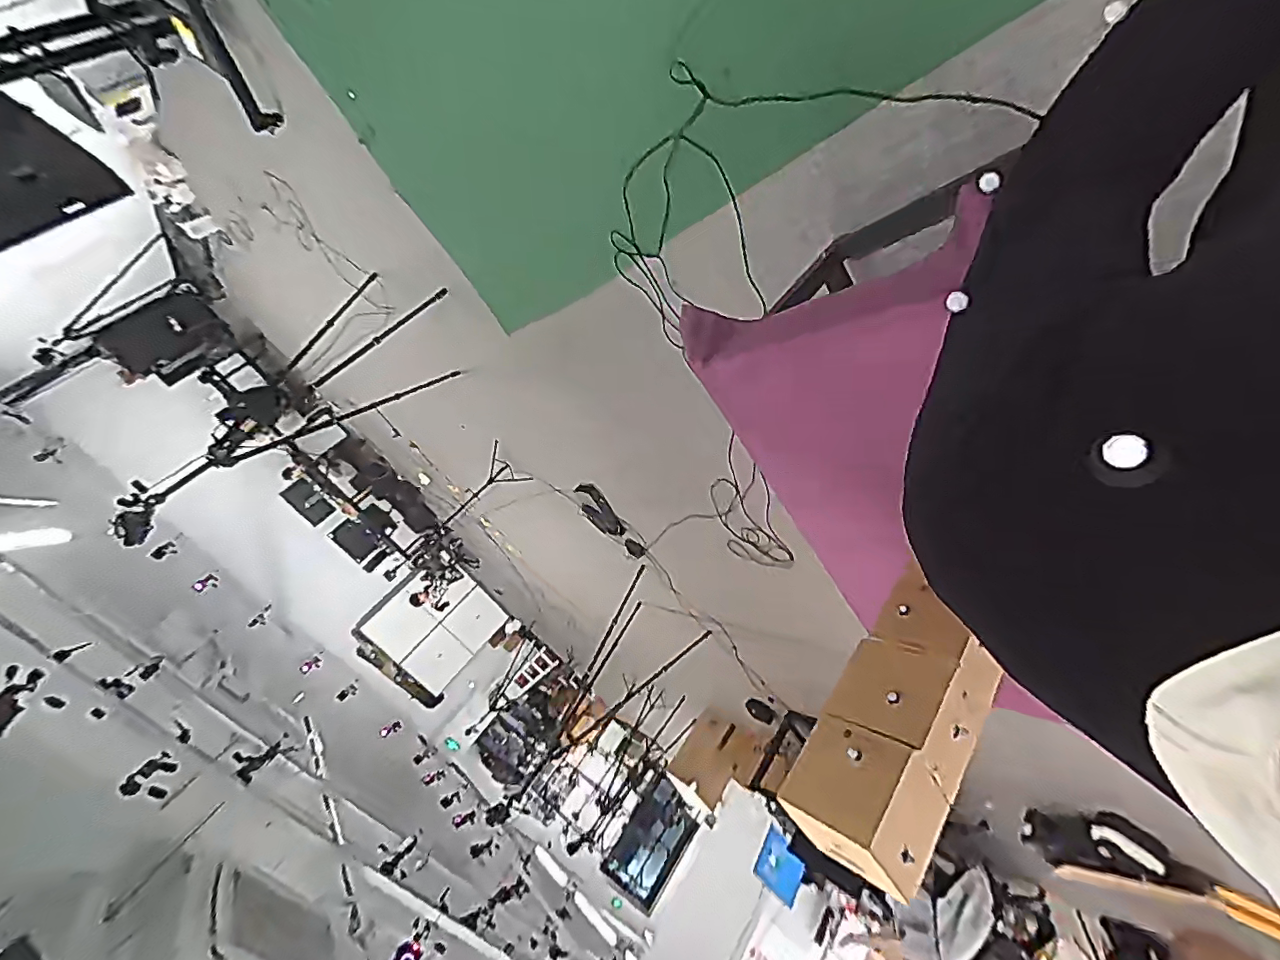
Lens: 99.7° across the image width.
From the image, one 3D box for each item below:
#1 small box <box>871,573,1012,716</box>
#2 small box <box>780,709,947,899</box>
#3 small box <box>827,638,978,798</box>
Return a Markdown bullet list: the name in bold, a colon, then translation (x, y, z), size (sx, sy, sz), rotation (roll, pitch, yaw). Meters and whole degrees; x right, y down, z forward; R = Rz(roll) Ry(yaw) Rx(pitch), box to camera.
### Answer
- **small box**: translation (0.571, 0.298, 1.020), size (0.168, 0.176, 0.179), rotation (1, 132, 53)
- **small box**: translation (0.368, 0.514, 0.880), size (0.168, 0.176, 0.179), rotation (-1, 130, 54)
- **small box**: translation (0.469, 0.406, 0.952), size (0.179, 0.176, 0.168), rotation (1, 131, 52)
